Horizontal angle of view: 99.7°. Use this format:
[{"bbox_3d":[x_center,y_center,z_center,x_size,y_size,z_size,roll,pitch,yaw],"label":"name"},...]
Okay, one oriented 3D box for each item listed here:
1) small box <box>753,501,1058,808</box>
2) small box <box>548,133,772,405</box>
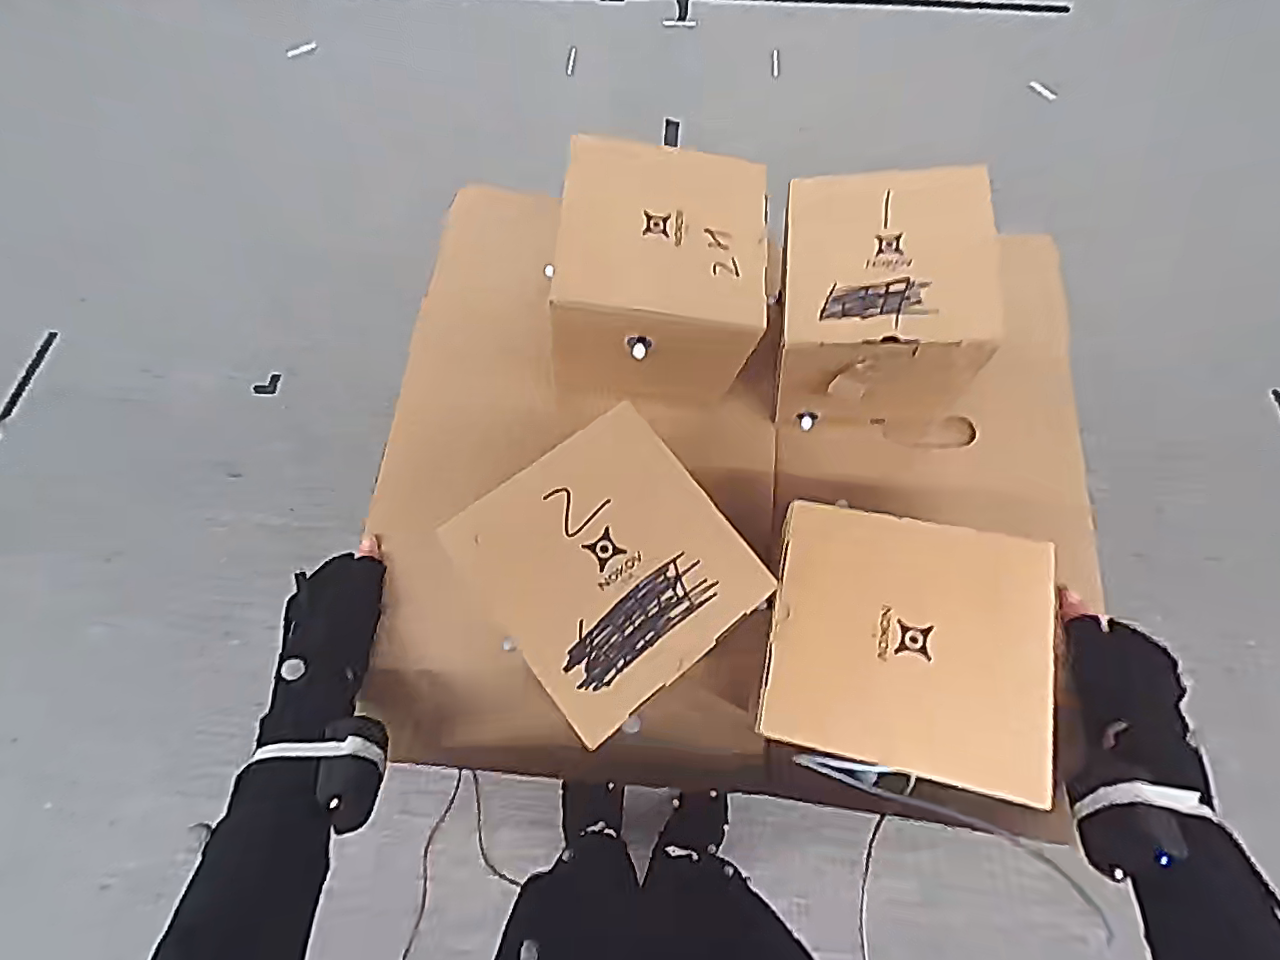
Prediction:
[{"bbox_3d":[0.192,0.128,0.436,0.179,0.176,0.168,9,75,15],"label":"small box"},{"bbox_3d":[0.013,-0.184,0.517,0.179,0.176,0.168,6,75,-6],"label":"small box"}]
